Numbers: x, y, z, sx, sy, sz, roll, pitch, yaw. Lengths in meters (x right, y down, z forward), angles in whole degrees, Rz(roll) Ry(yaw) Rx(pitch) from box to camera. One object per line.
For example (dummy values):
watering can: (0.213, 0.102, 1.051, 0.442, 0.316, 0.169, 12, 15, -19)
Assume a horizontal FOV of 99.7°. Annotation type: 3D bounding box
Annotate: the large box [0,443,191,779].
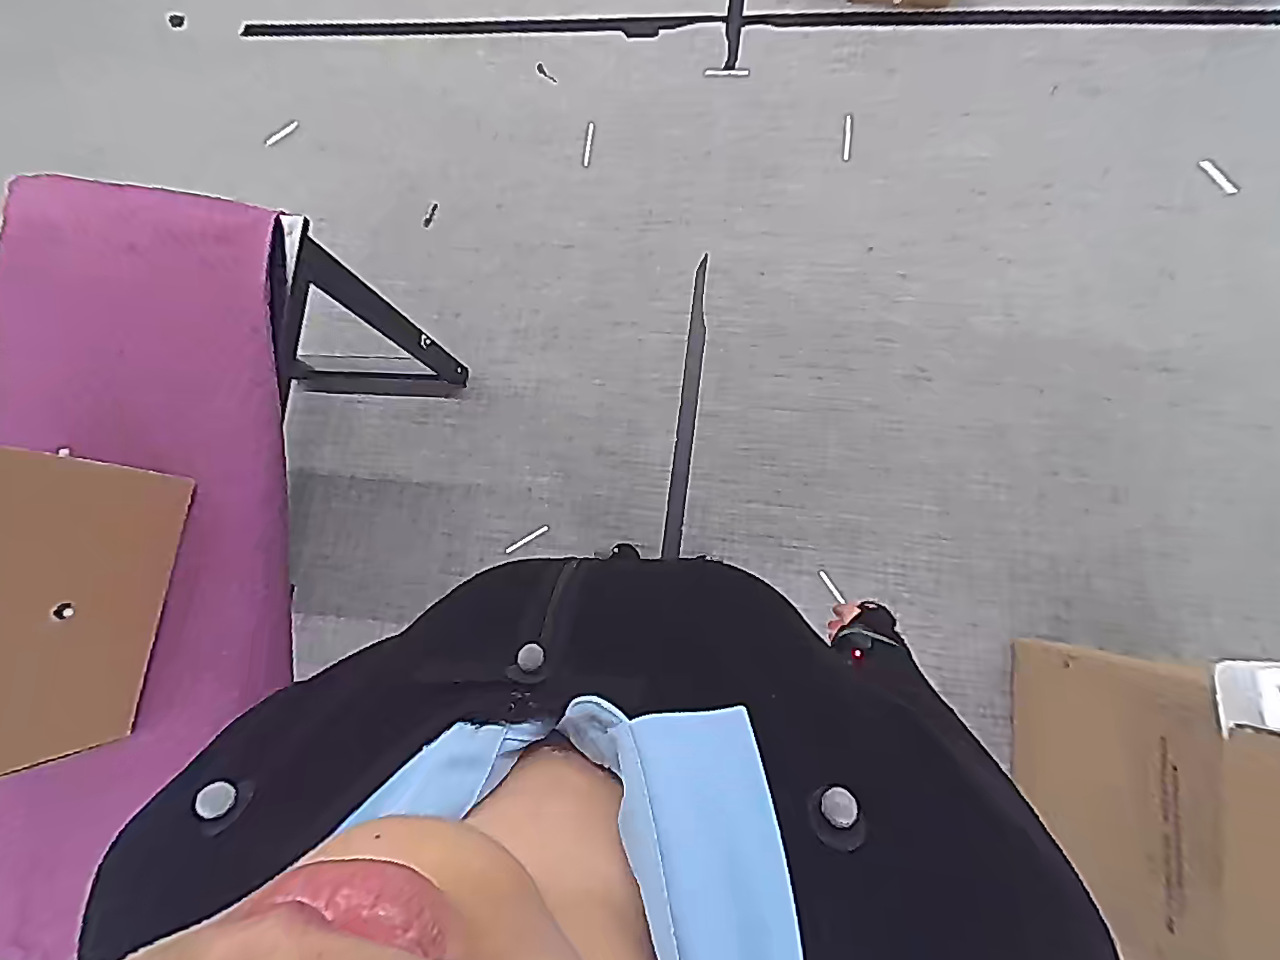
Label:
large box: (-0.900, 0.155, 0.717, 0.320, 0.320, 0.408, 6, 83, 9)
